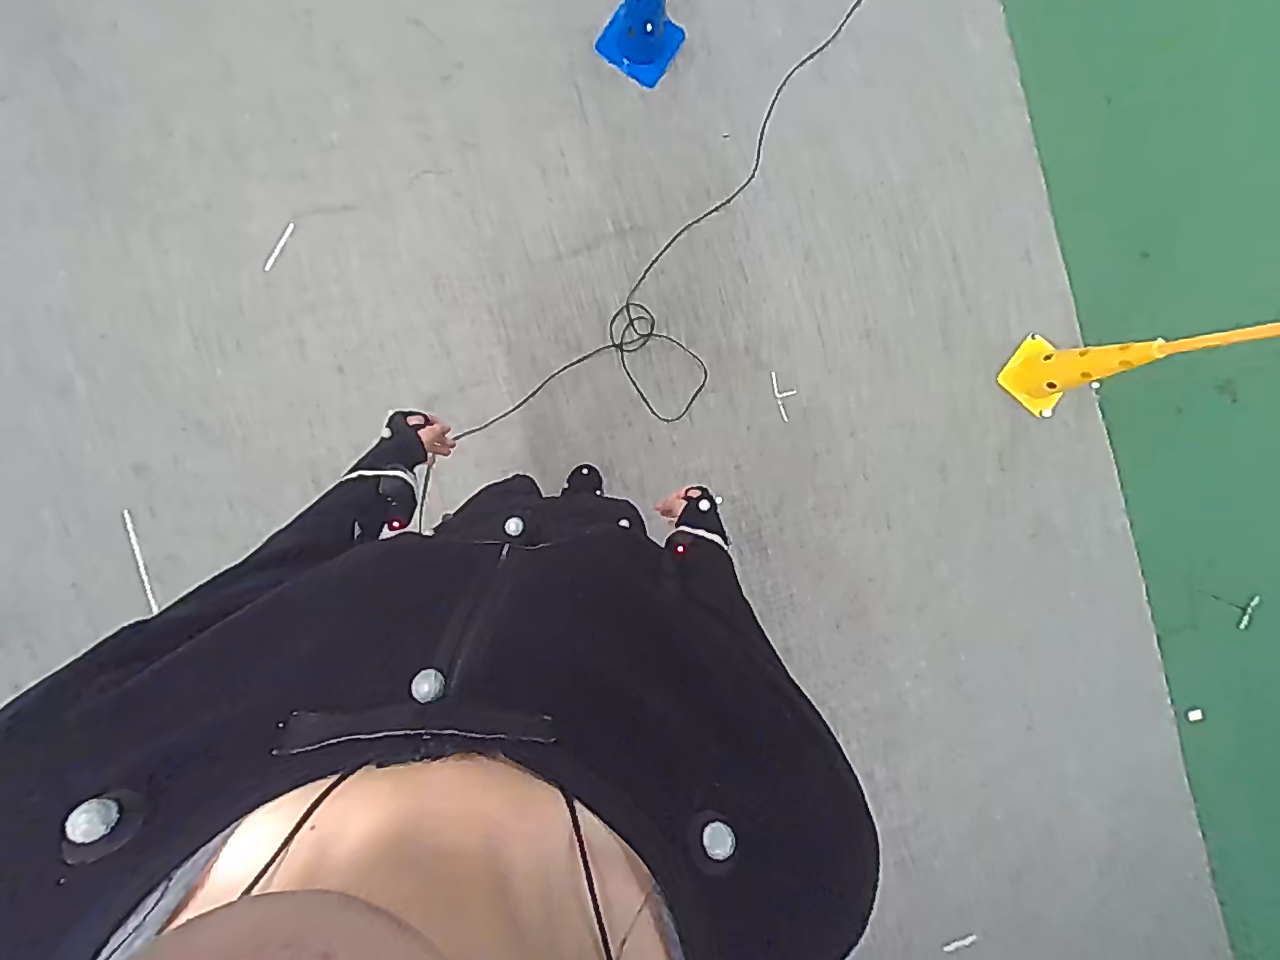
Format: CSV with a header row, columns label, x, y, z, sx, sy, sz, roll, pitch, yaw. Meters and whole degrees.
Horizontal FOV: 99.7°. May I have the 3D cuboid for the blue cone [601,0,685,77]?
label,x,y,z,sx,sy,sz,roll,pitch,yaw
blue cone,0.018,-1.221,1.325,0.193,0.380,0.192,30,88,-4
